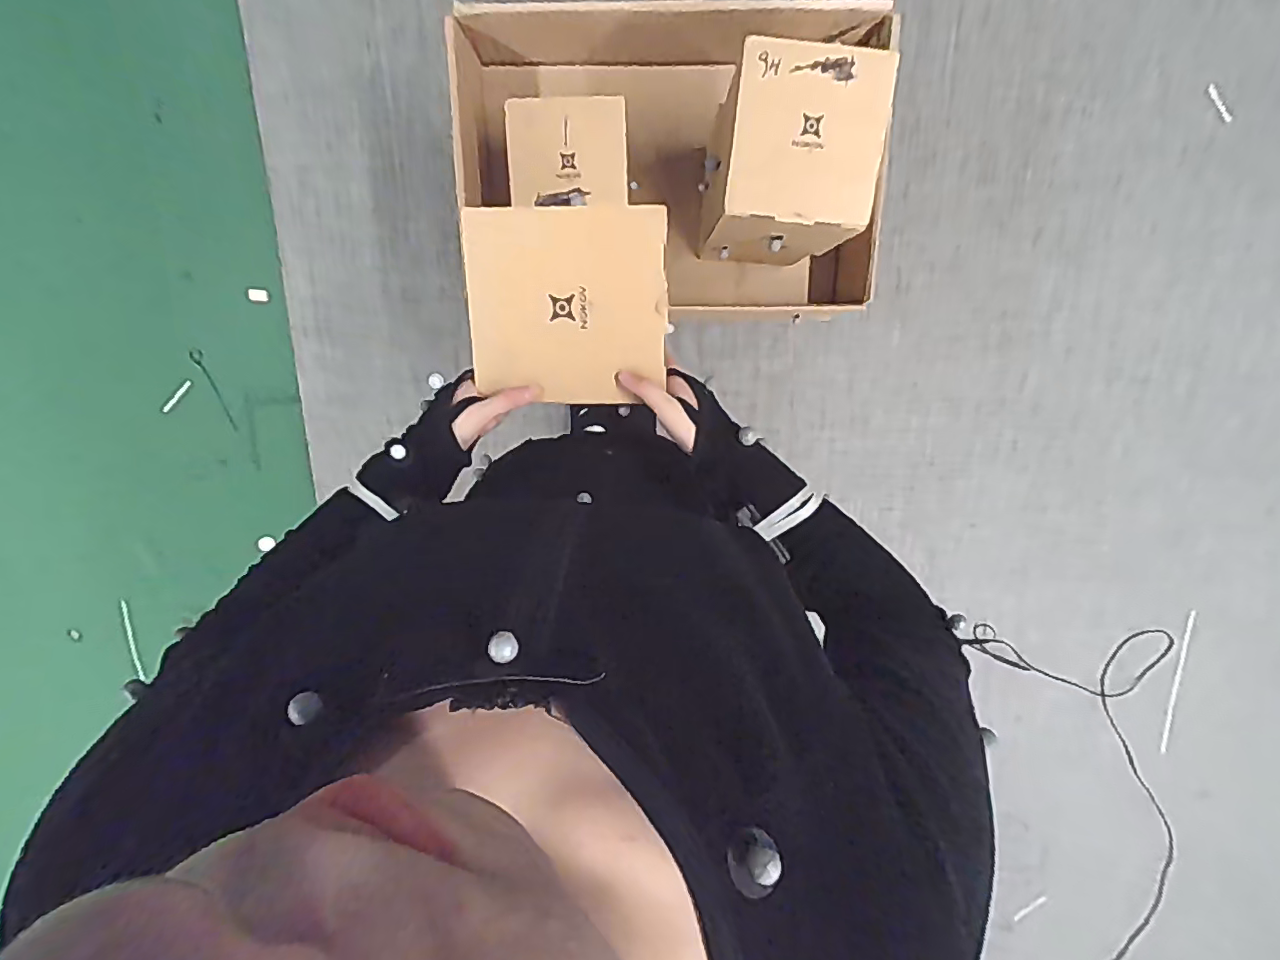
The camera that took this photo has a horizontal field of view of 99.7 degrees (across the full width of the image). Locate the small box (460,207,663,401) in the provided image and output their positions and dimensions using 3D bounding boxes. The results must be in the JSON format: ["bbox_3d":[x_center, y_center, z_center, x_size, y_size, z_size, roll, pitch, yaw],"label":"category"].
[{"bbox_3d":[-0.066,-0.169,0.554,0.179,0.176,0.168,0,103,0],"label":"small box"}]

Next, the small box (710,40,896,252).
[{"bbox_3d":[0.182,-0.390,0.666,0.168,0.176,0.179,7,105,0],"label":"small box"}]
